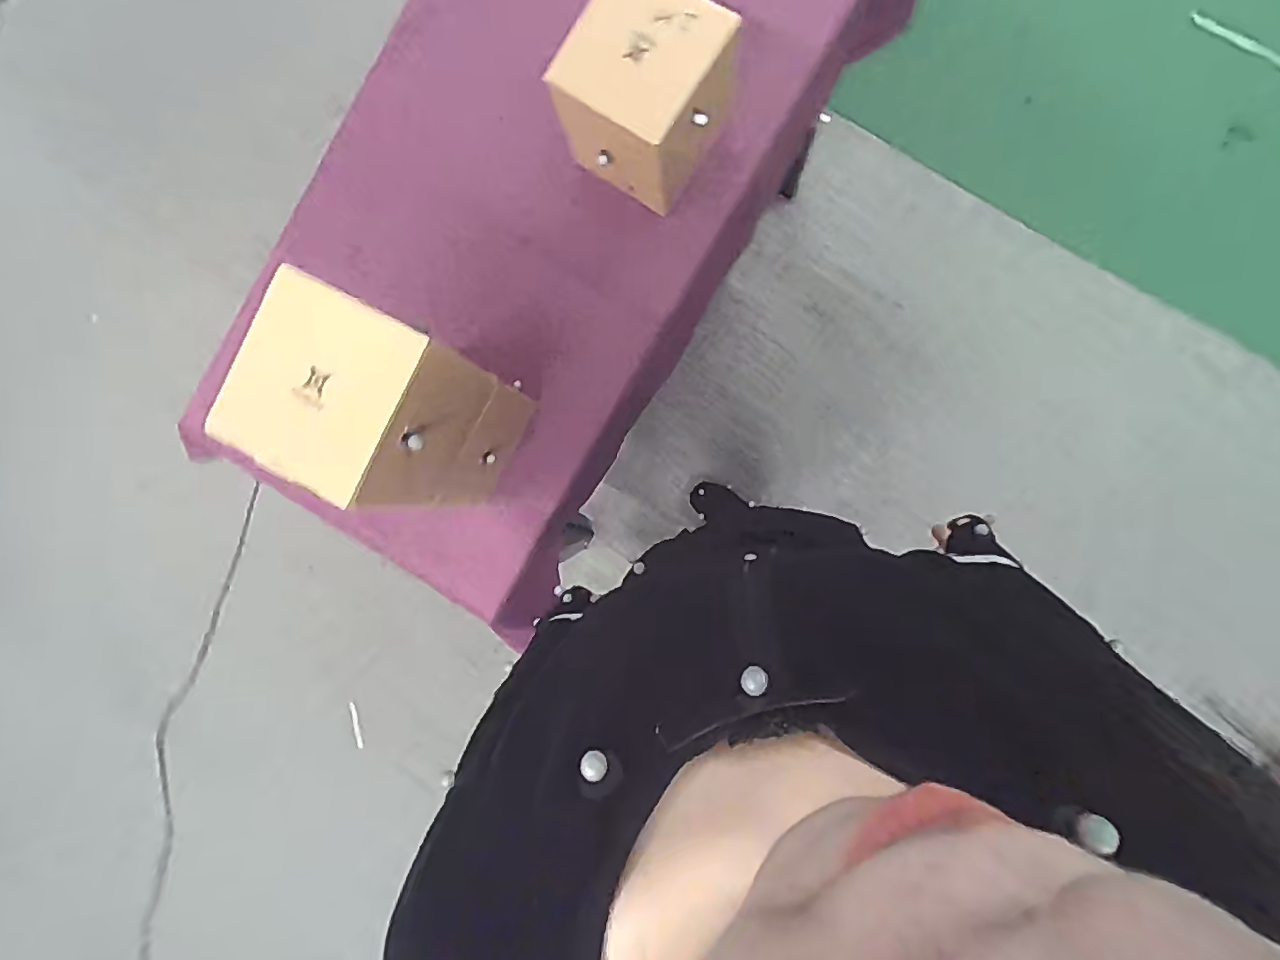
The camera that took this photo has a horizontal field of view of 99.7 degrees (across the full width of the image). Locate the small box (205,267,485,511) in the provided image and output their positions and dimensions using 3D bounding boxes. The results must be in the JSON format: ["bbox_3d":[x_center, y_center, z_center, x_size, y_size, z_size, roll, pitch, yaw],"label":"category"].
[{"bbox_3d":[-0.288,-0.084,0.572,0.168,0.176,0.179,27,93,6],"label":"small box"}]

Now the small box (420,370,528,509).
[{"bbox_3d":[-0.271,-0.078,0.734,0.168,0.176,0.179,28,94,6],"label":"small box"}]

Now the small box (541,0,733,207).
[{"bbox_3d":[0.004,-0.501,0.707,0.168,0.176,0.179,35,93,5],"label":"small box"}]
